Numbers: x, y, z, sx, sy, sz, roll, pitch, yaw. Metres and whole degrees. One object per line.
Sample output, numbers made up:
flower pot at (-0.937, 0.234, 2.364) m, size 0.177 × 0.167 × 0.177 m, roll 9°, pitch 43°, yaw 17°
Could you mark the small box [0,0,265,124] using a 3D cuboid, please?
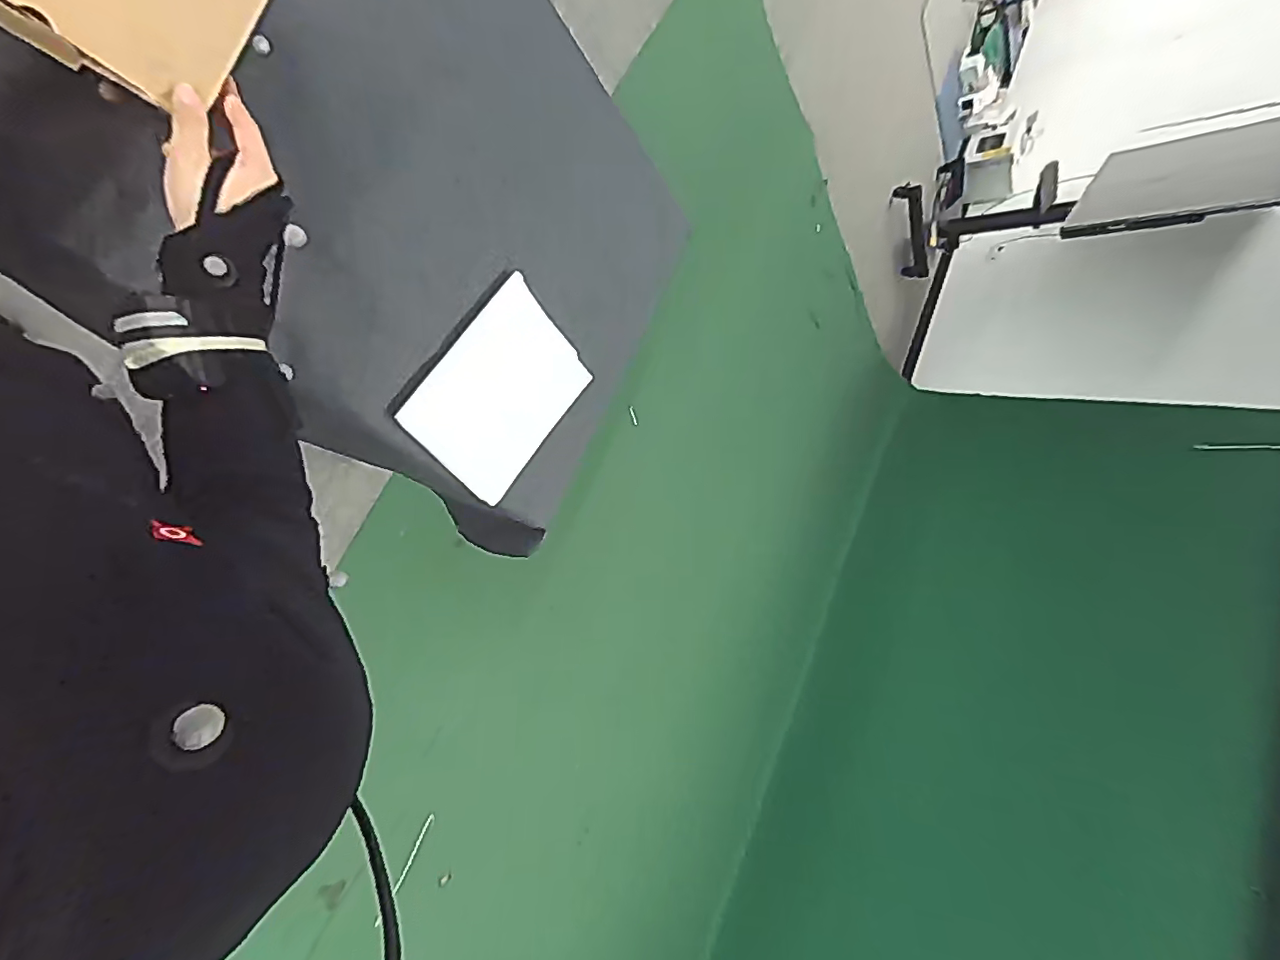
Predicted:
small box at (-0.362, -0.378, 0.365) m, size 0.168 × 0.176 × 0.179 m, roll 27°, pitch 95°, yaw -49°
